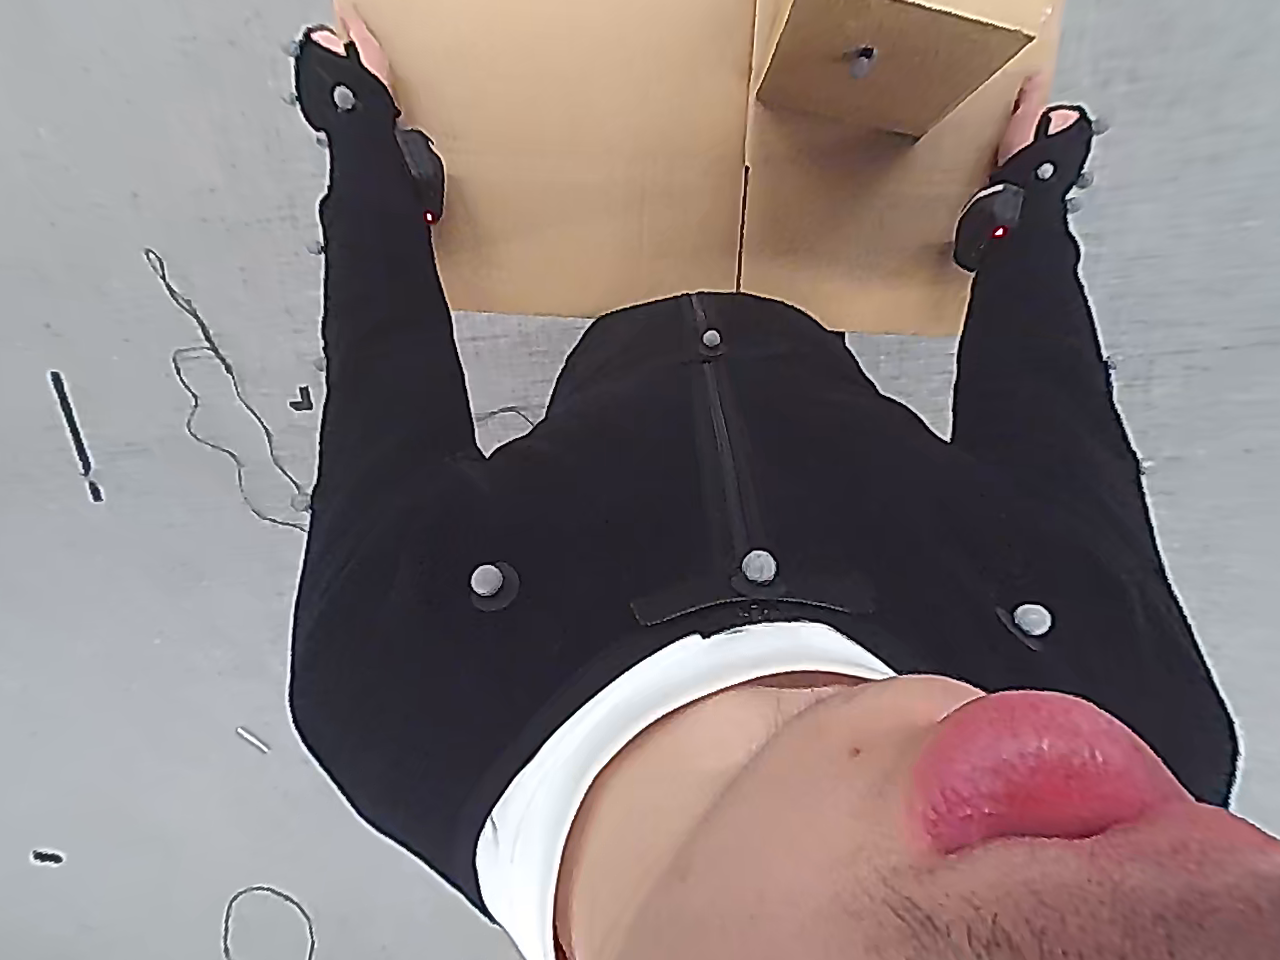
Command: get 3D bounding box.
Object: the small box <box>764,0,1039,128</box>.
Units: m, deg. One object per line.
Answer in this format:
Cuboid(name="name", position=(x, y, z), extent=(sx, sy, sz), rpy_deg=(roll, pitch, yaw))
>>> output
Cuboid(name="small box", position=(0.218, -0.433, 0.456), extent=(0.179, 0.176, 0.168), rpy_deg=(13, 101, -1))
